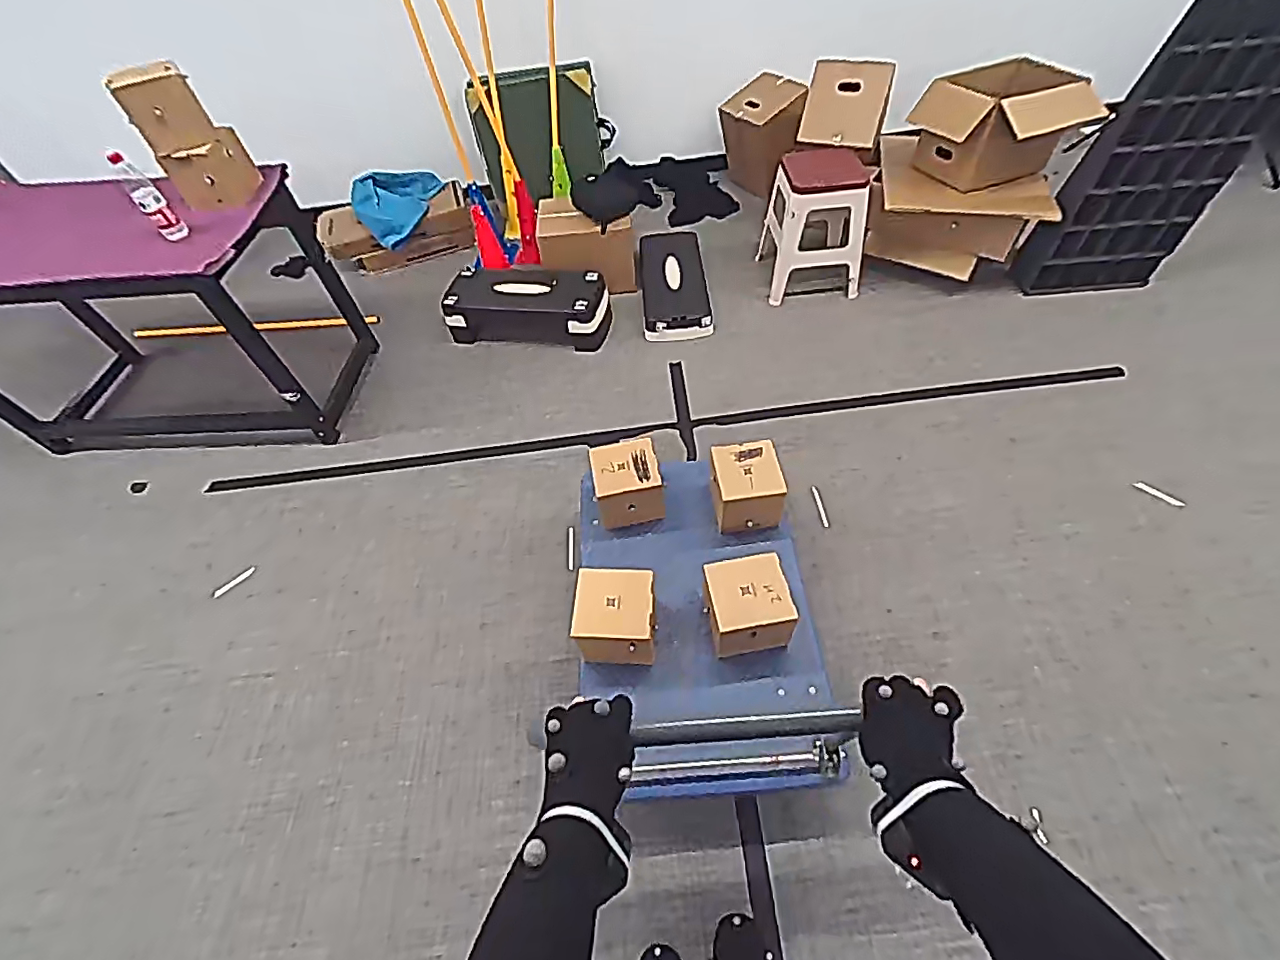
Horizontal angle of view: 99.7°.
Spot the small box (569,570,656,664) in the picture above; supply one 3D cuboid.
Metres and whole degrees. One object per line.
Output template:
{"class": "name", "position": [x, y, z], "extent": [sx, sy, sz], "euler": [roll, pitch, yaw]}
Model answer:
{"class": "small box", "position": [-0.057, 0.324, 1.265], "extent": [0.179, 0.176, 0.168], "euler": [0, 54, 4]}

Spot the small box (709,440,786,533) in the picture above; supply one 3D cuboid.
{"class": "small box", "position": [0.280, 0.019, 1.453], "extent": [0.168, 0.176, 0.179], "euler": [-8, 55, 0]}

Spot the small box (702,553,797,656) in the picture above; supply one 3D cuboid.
{"class": "small box", "position": [0.246, 0.294, 1.257], "extent": [0.179, 0.176, 0.168], "euler": [-10, 54, -2]}
